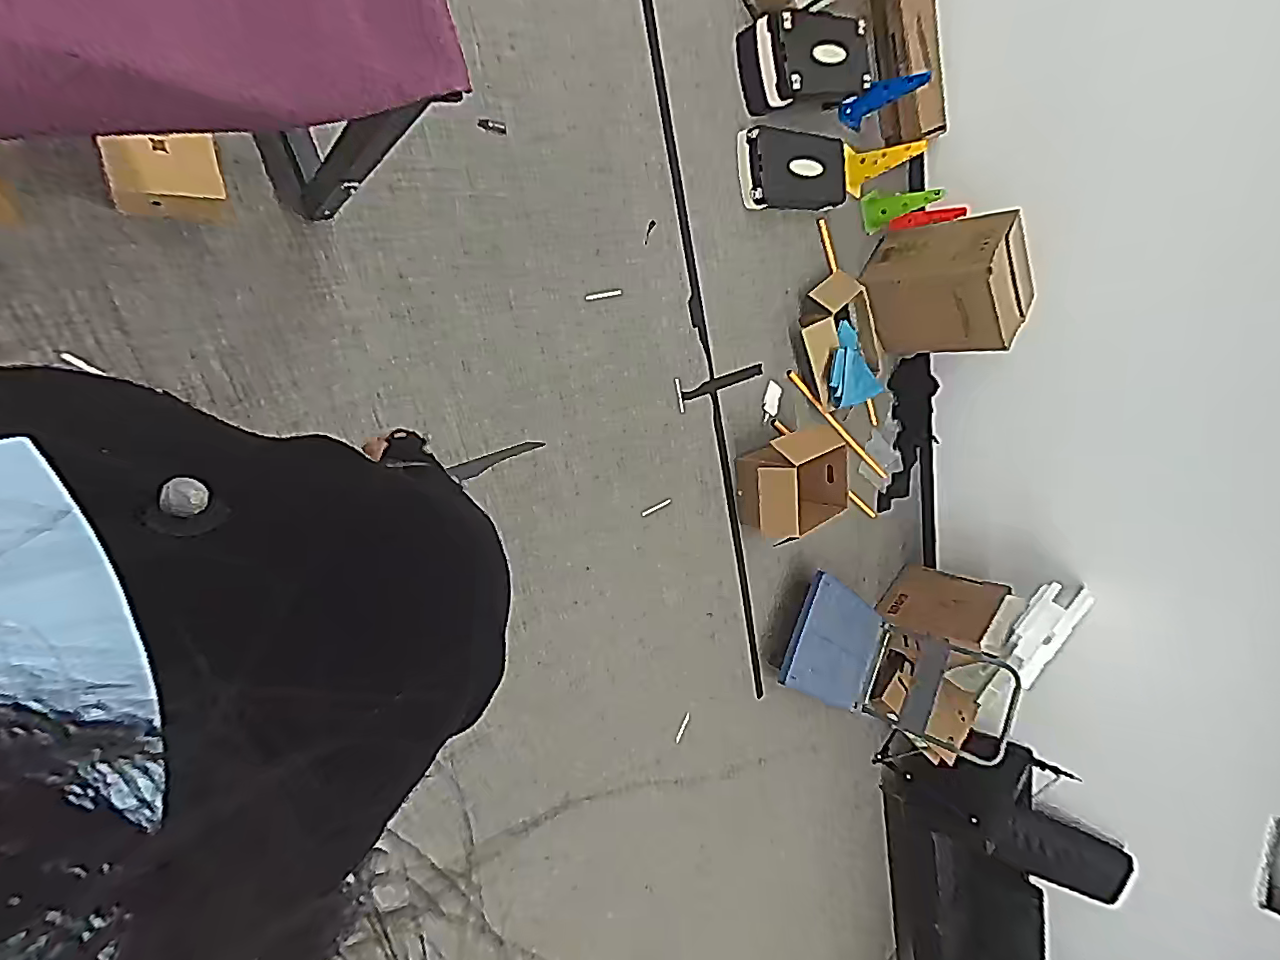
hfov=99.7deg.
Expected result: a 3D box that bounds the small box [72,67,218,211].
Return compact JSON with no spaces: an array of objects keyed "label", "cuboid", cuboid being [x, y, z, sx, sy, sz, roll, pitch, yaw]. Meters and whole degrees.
[{"label":"small box","cuboid":[-0.918,-0.622,1.016,0.168,0.176,0.179,-16,107,-39]}]
